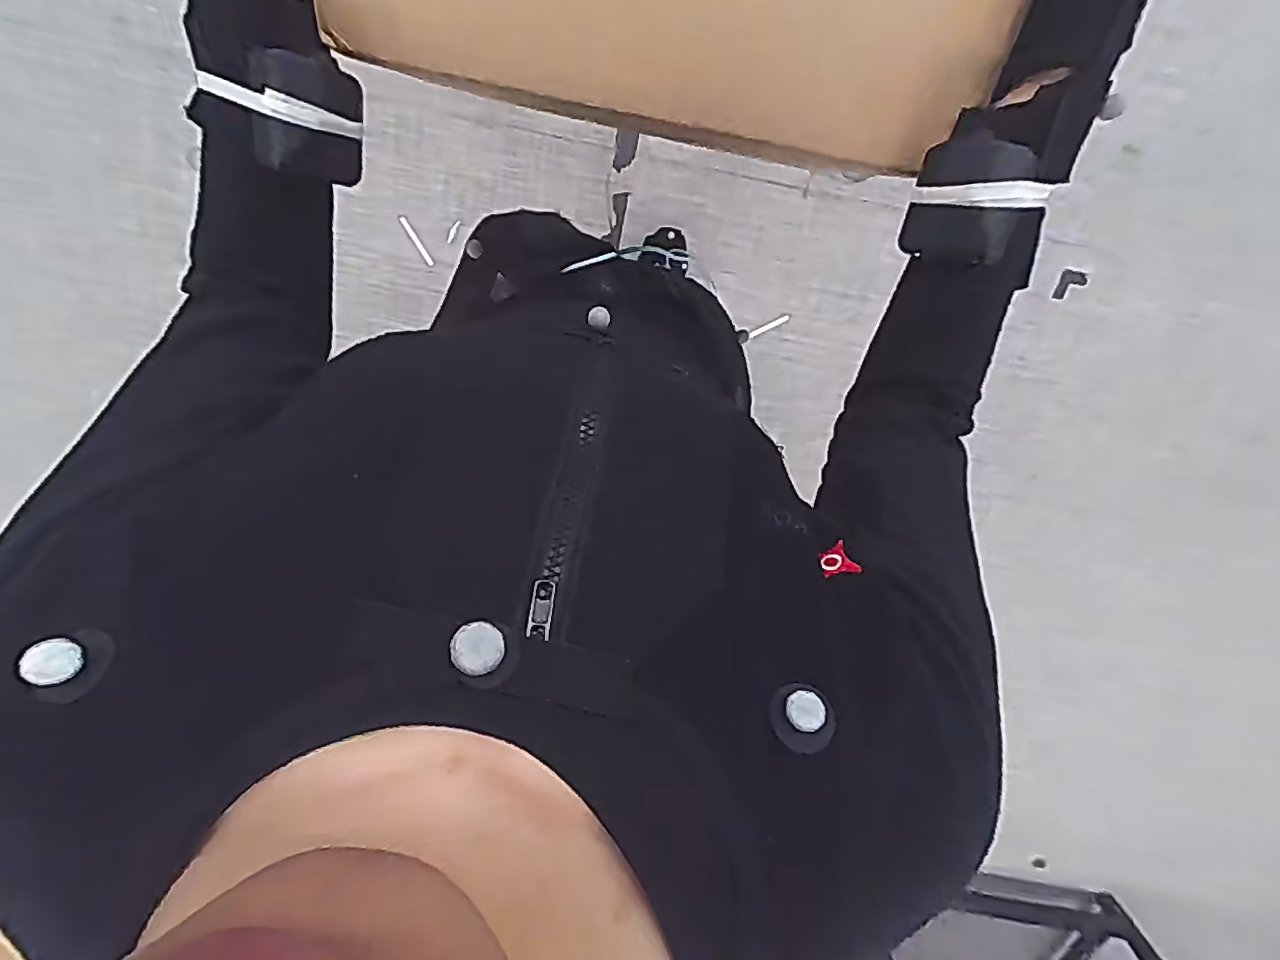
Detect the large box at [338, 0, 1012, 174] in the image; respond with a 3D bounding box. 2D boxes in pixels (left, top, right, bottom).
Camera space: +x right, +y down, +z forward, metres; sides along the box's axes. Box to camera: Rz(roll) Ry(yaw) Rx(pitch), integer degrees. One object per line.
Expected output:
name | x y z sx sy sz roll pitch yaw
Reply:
large box | 0.035 -0.439 0.400 0.408 0.320 0.320 9 122 -5
